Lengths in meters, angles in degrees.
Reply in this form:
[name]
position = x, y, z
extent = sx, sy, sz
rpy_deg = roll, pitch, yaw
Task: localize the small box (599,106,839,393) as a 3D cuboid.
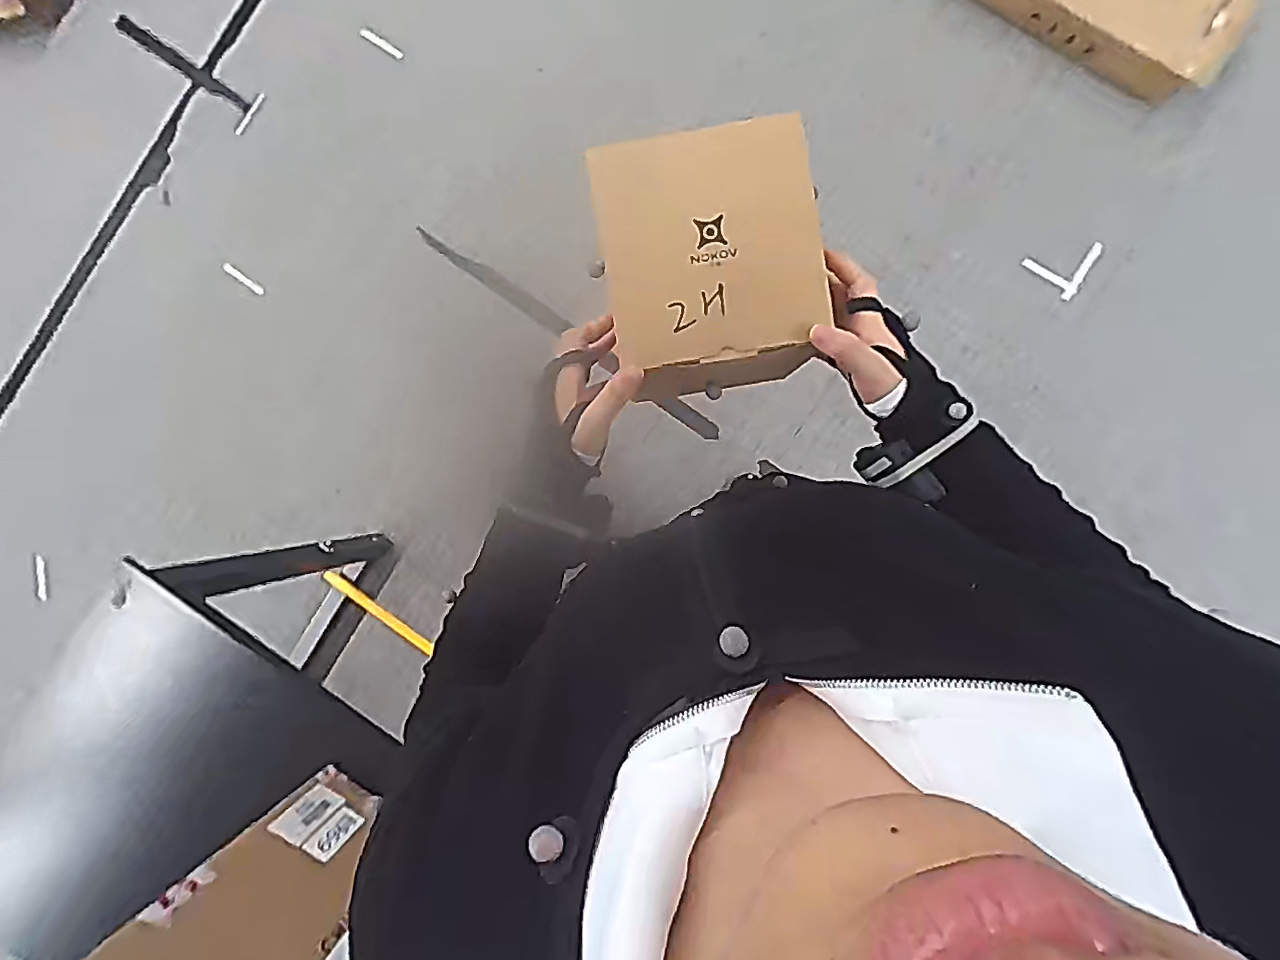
[small box]
position = 0.060, -0.186, 0.487
extent = 0.168, 0.176, 0.179
rpy_deg = -8, 91, 2
